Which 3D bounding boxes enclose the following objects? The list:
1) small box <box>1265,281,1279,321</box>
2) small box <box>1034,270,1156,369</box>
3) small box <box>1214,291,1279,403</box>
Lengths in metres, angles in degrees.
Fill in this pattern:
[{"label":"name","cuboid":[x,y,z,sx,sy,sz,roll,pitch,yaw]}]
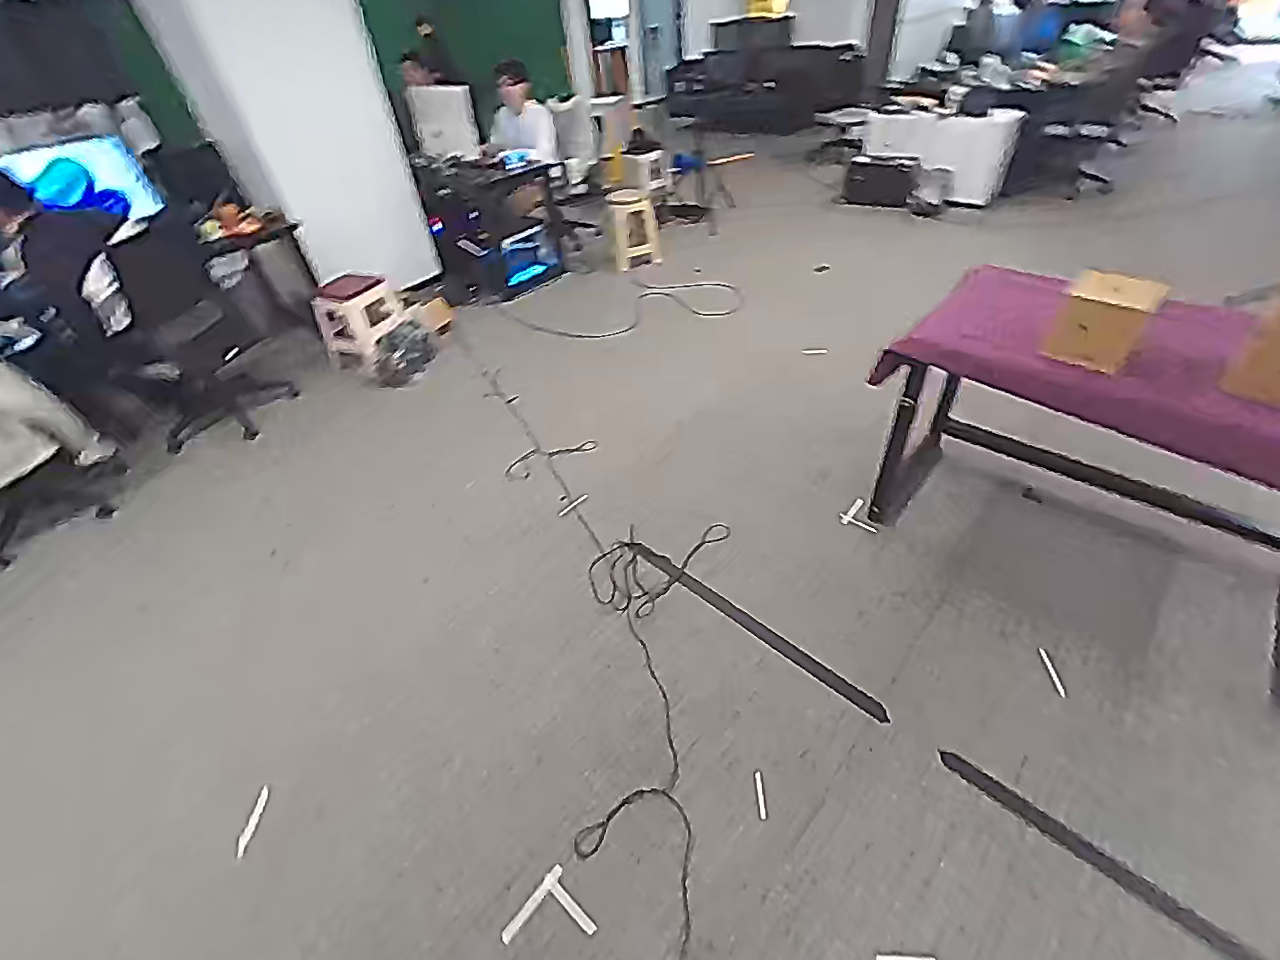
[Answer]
[{"label":"small box","cuboid":[1.398,-0.404,1.061,0.179,0.176,0.168,-37,49,-29]},{"label":"small box","cuboid":[1.117,-0.397,1.339,0.168,0.176,0.179,30,52,33]},{"label":"small box","cuboid":[1.408,-0.281,1.170,0.179,0.176,0.168,-36,50,-29]}]
